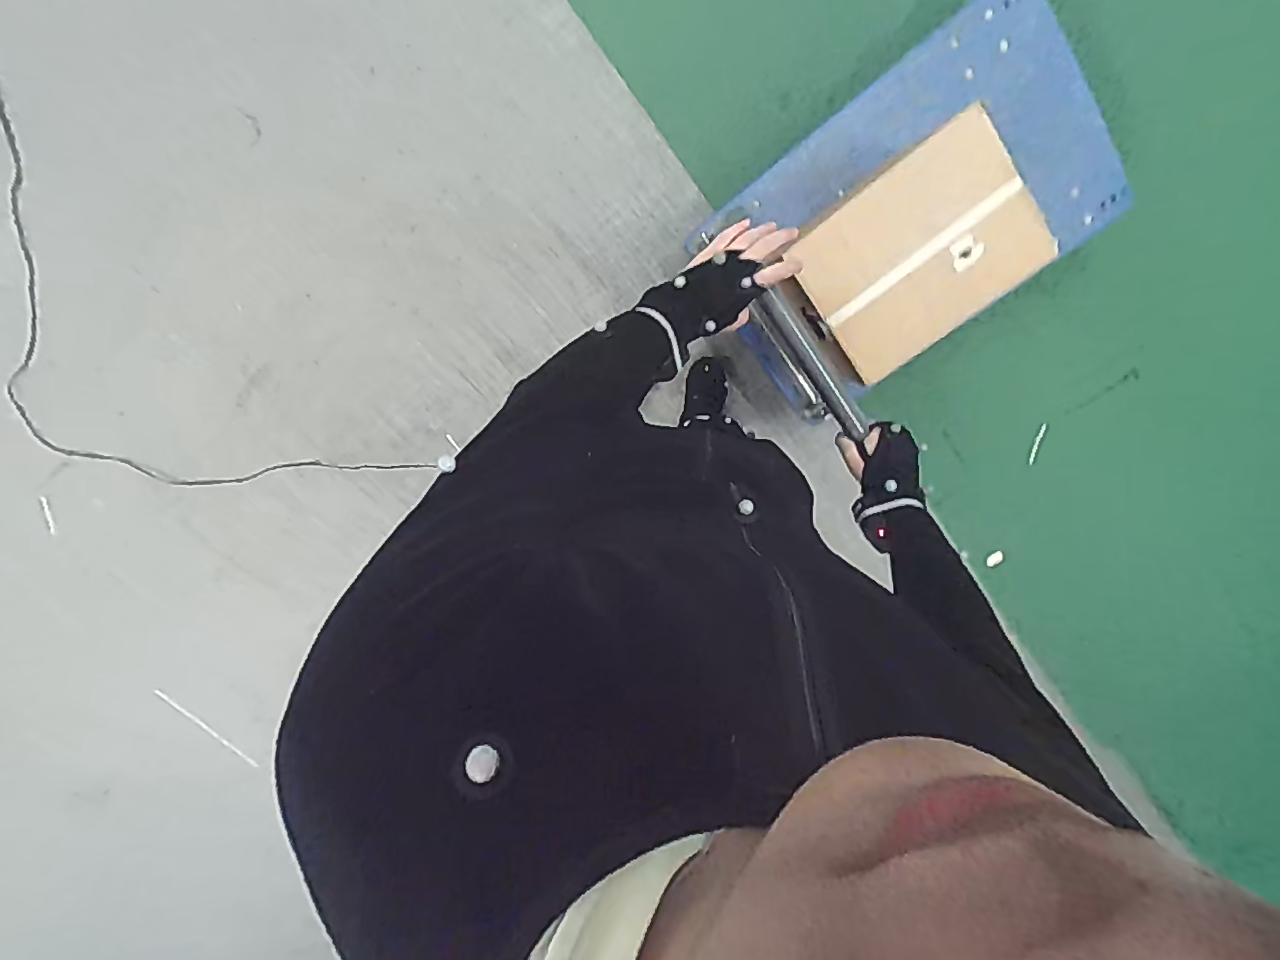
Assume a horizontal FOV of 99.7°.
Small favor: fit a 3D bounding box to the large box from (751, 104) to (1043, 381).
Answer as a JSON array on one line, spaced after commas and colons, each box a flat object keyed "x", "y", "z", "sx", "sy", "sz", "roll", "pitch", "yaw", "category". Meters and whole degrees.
[{"x": 0.506, "y": -0.466, "z": 1.152, "sx": 0.408, "sy": 0.320, "sz": 0.320, "roll": -36, "pitch": 104, "yaw": 11, "category": "large box"}]
